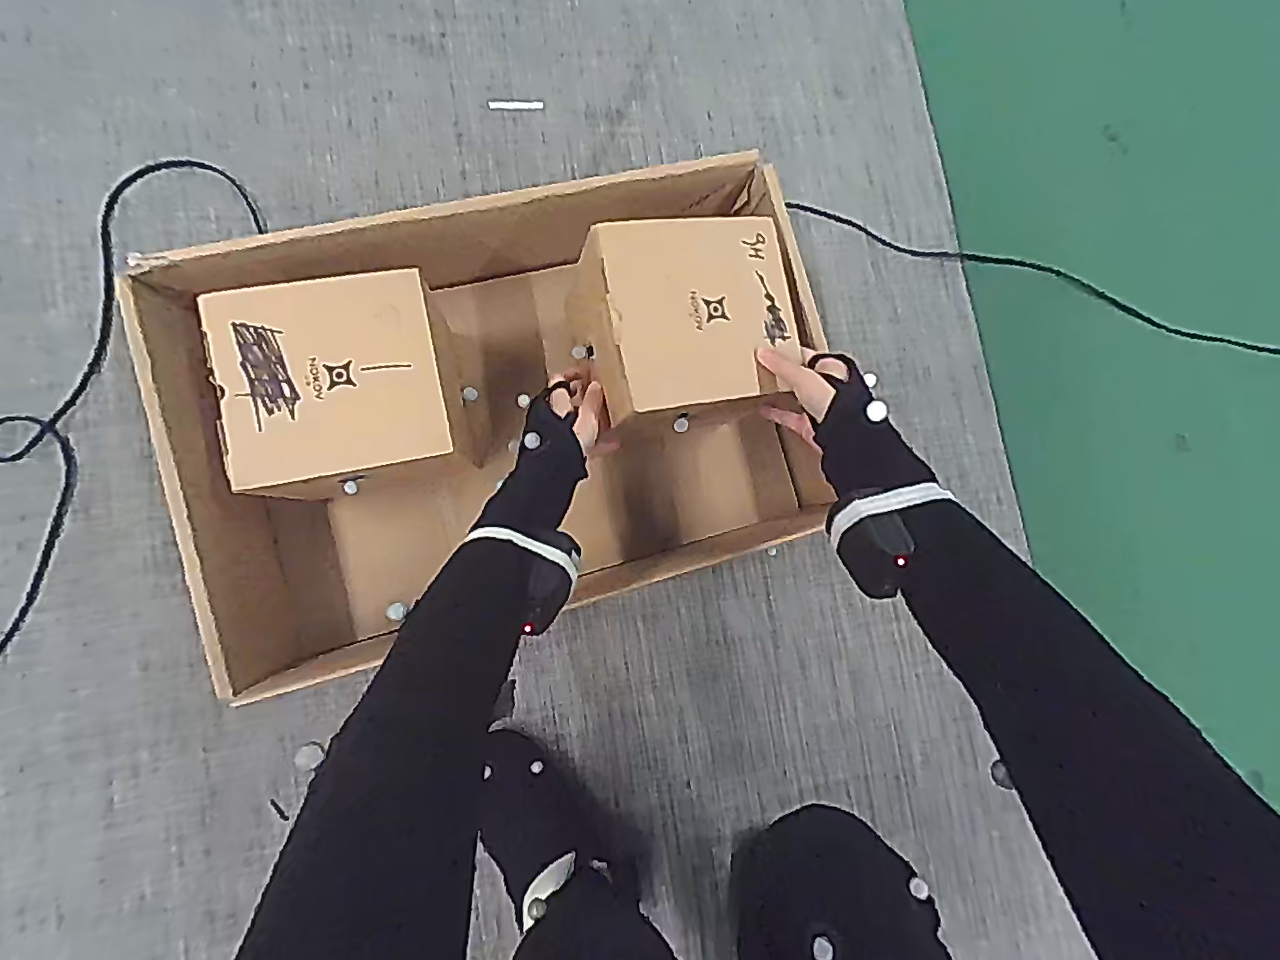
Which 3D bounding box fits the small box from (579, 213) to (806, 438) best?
[{"bbox_3d":[0.037,-0.145,0.552,0.179,0.176,0.168,-10,86,-14],"label":"small box"}]
